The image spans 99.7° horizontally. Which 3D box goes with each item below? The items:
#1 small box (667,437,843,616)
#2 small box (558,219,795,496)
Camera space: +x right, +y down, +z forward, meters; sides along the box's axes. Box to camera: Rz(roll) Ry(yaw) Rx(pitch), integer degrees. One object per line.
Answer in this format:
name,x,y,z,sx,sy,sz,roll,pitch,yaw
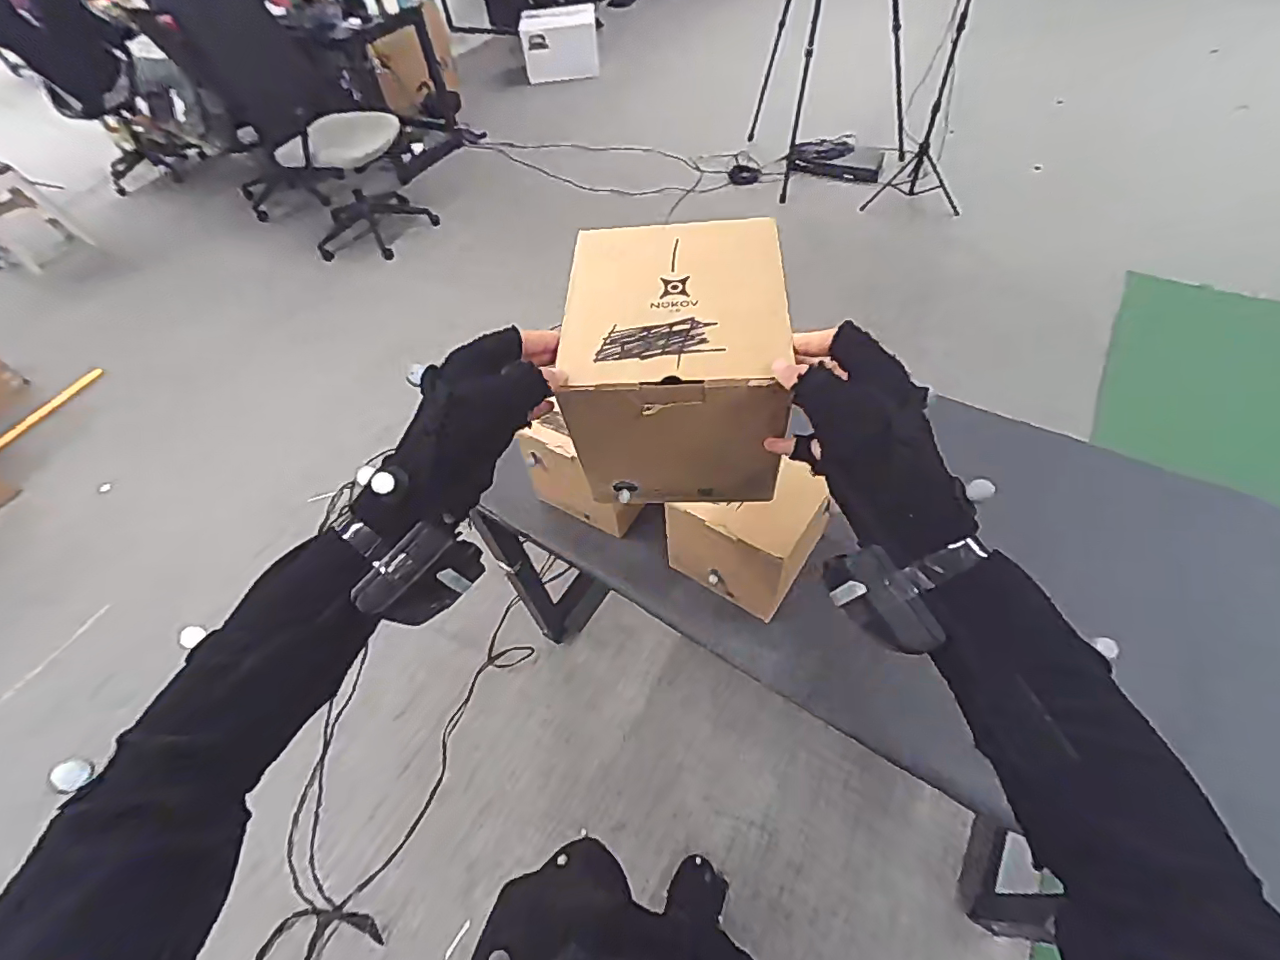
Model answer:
small box,0.150,0.051,0.744,0.168,0.176,0.179,28,60,24
small box,0.037,-0.096,0.474,0.168,0.176,0.179,0,59,7
